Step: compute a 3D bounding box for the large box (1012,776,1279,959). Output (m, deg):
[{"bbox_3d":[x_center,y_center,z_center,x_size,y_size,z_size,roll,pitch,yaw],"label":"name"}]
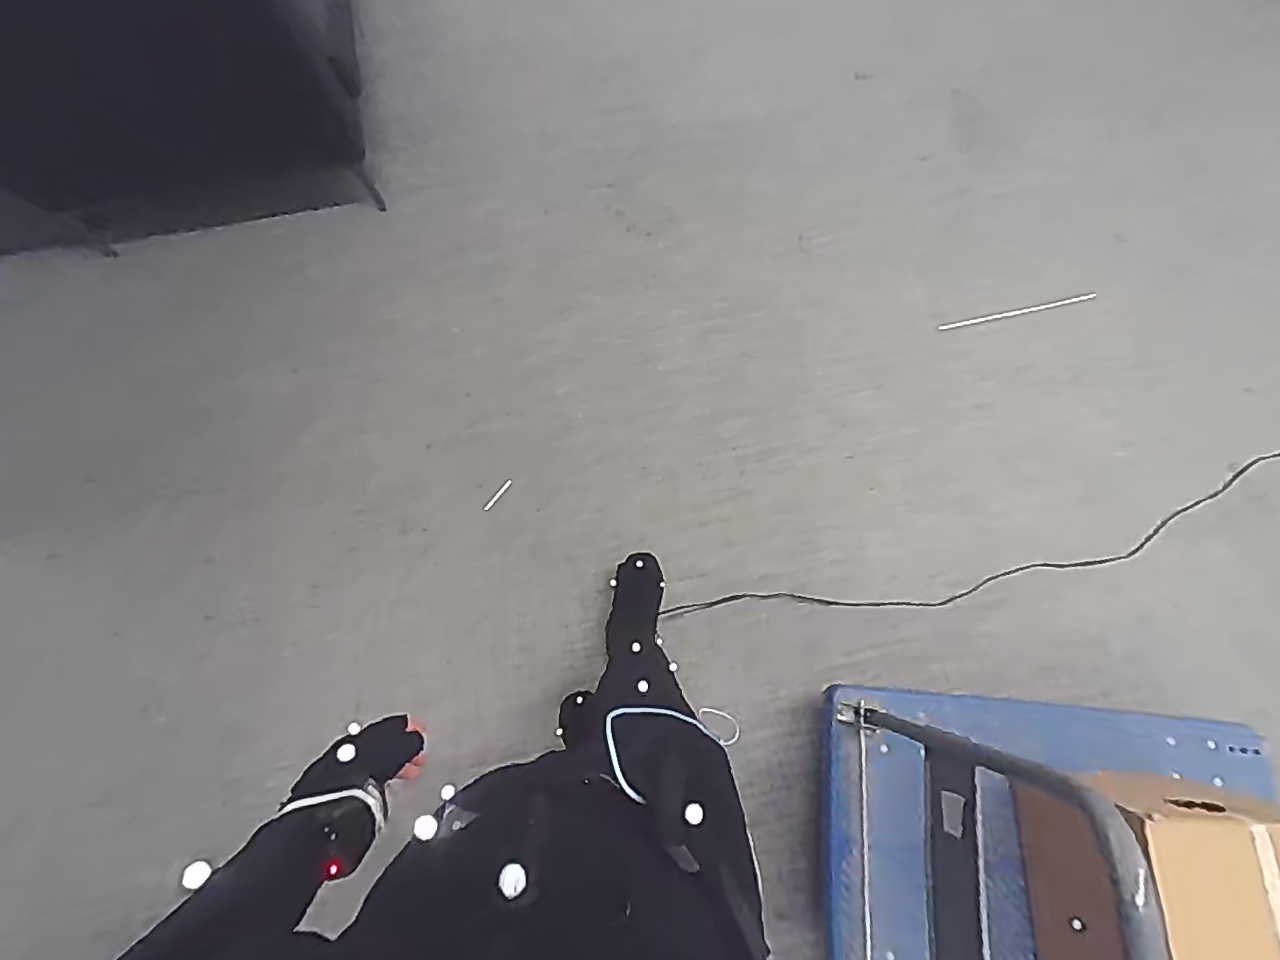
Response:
[{"bbox_3d":[0.878,0.735,0.870,0.320,0.320,0.408,1,72,1],"label":"large box"}]
